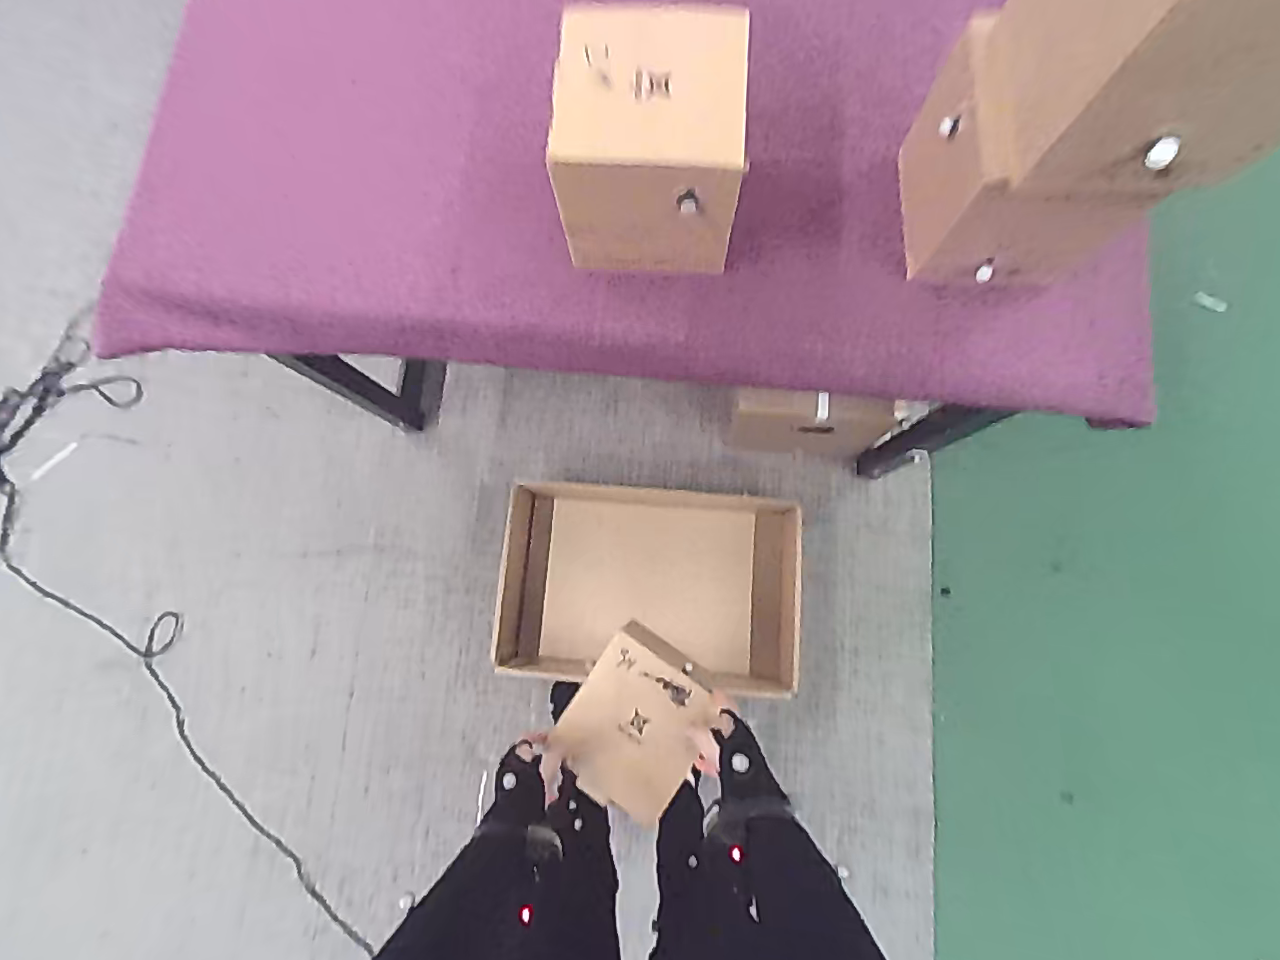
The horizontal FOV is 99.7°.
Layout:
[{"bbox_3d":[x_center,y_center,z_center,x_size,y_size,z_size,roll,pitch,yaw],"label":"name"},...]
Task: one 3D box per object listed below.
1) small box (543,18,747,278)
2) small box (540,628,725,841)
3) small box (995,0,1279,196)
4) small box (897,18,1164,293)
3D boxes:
[{"bbox_3d":[0.010,-0.330,0.565,0.179,0.176,0.168,3,78,4],"label":"small box"},{"bbox_3d":[-0.001,0.322,0.729,0.168,0.176,0.179,33,85,10],"label":"small box"},{"bbox_3d":[0.382,-0.335,0.381,0.168,0.176,0.179,2,78,5],"label":"small box"},{"bbox_3d":[0.376,-0.314,0.545,0.168,0.176,0.179,2,78,5],"label":"small box"}]
